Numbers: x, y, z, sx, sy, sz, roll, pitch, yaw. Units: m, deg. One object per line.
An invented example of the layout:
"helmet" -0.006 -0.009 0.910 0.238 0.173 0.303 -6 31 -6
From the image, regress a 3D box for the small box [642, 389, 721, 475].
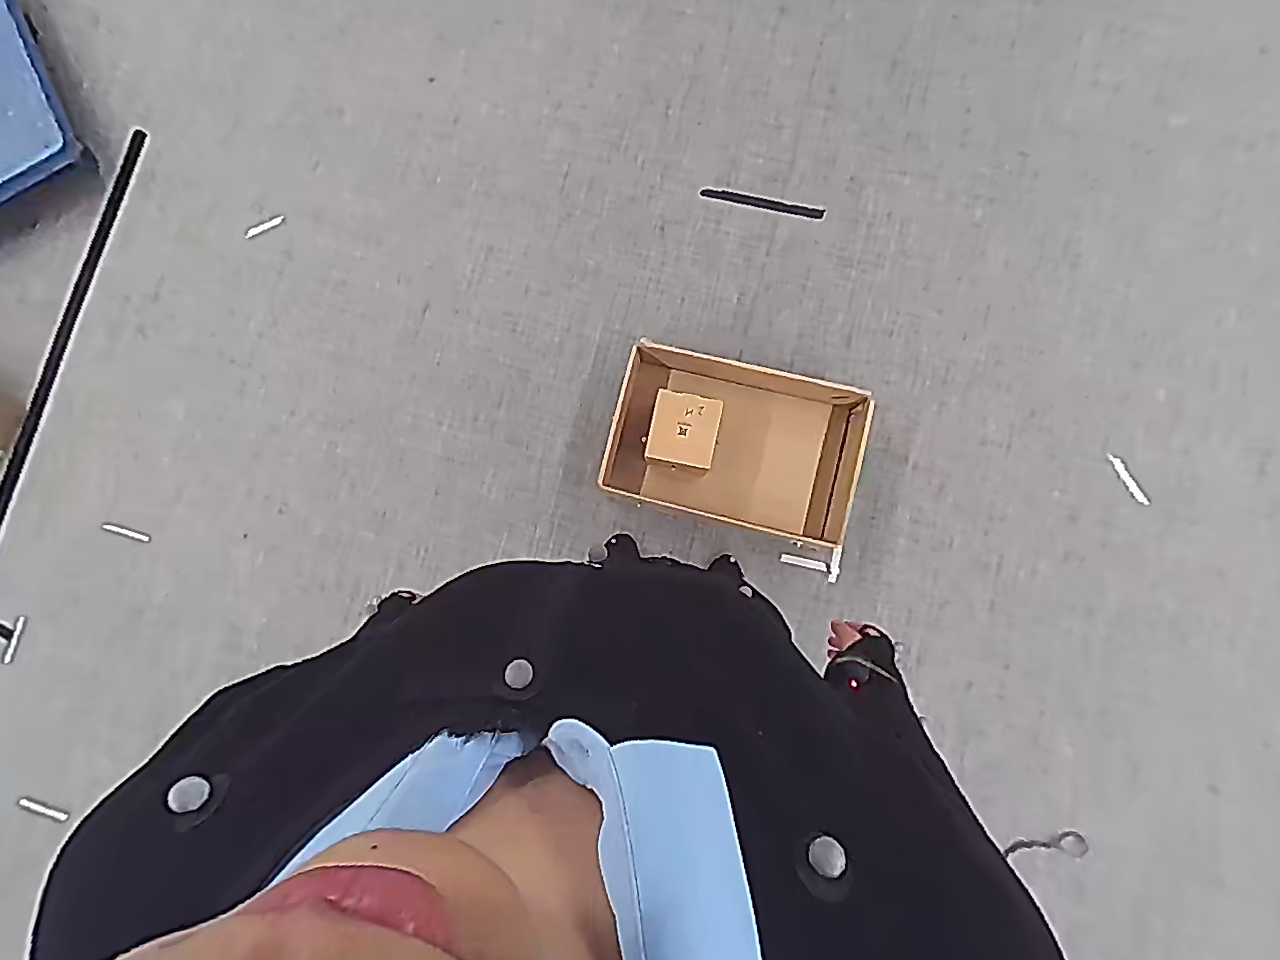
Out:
"small box" 0.107 -0.116 1.401 0.168 0.176 0.179 12 85 3
